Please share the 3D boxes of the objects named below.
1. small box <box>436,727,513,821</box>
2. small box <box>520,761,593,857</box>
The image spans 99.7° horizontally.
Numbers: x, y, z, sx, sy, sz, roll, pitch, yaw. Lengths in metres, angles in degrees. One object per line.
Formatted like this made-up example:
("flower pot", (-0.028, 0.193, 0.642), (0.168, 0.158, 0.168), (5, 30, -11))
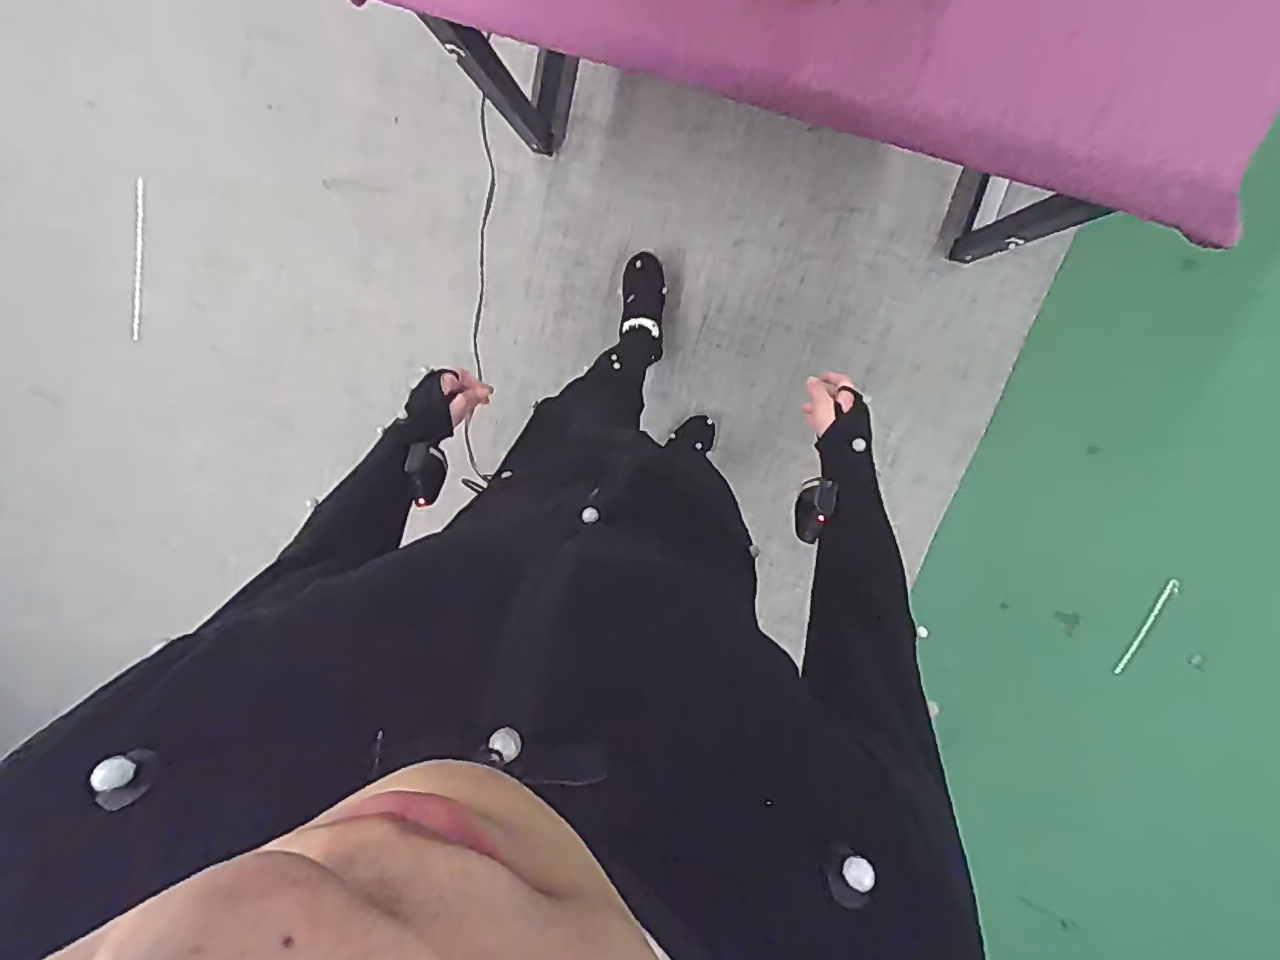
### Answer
("small box", (-0.534, 0.953, 1.766), (0.168, 0.176, 0.179), (22, 105, 1))
("small box", (-0.265, 1.065, 1.760), (0.168, 0.176, 0.179), (22, 106, 1))
